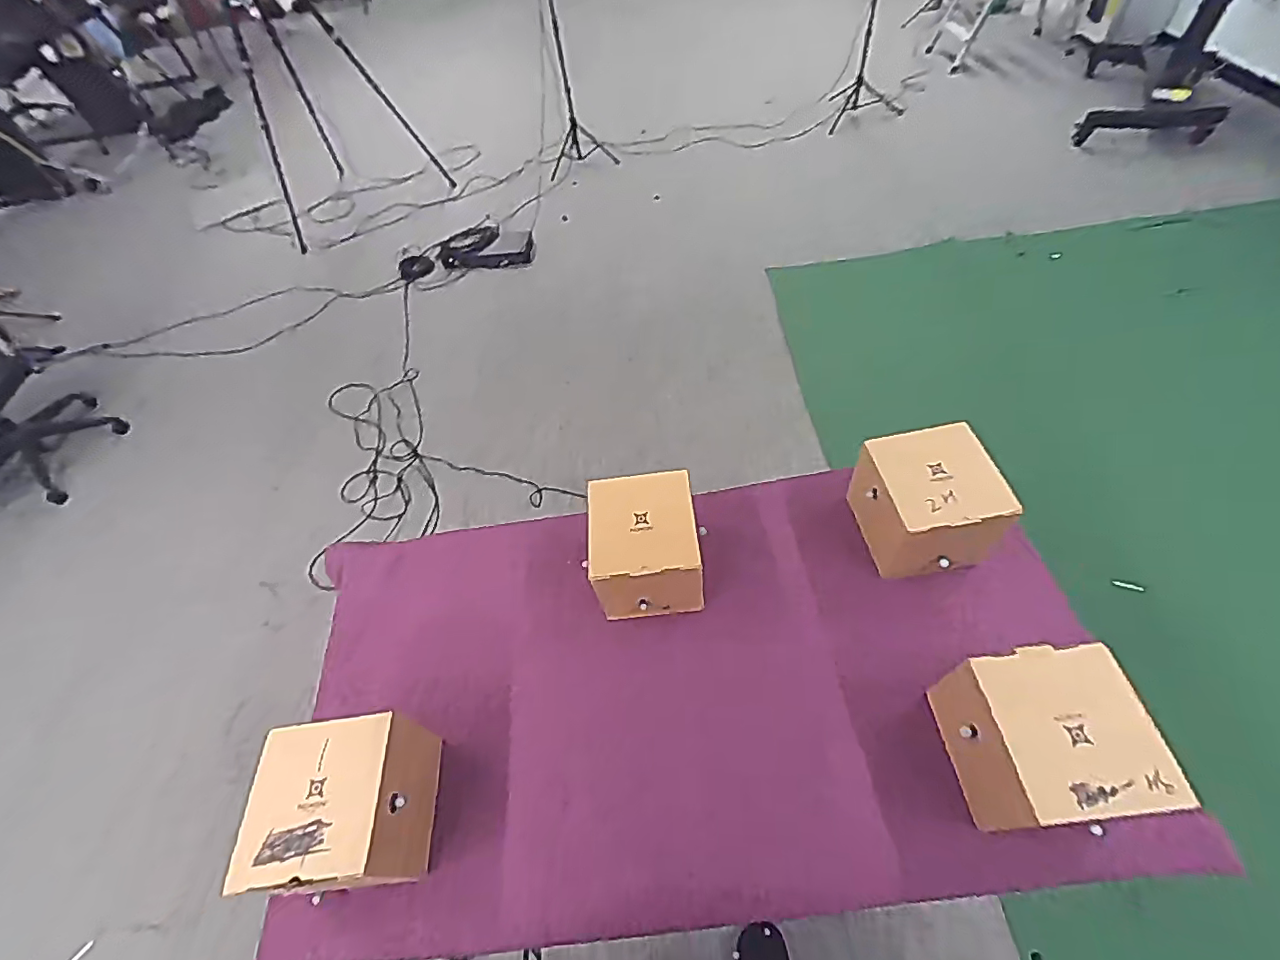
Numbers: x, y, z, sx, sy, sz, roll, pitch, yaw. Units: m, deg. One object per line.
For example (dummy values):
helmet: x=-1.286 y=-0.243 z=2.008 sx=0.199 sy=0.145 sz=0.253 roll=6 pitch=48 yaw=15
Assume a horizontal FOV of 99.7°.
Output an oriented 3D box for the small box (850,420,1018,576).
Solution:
small box: x=0.458 y=0.033 z=0.879 sx=0.168 sy=0.176 sz=0.179 roll=-12 pitch=55 yaw=4

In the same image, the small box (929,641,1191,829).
small box: x=0.491 y=0.321 z=0.673 sx=0.168 sy=0.176 sz=0.179 roll=-9 pitch=55 yaw=4

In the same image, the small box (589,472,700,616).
small box: x=0.009 y=0.110 z=0.903 sx=0.168 sy=0.176 sz=0.179 roll=-7 pitch=56 yaw=3

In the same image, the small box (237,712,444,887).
small box: x=-0.385 y=0.434 z=0.734 sx=0.168 sy=0.176 sz=0.179 roll=-9 pitch=52 yaw=2
